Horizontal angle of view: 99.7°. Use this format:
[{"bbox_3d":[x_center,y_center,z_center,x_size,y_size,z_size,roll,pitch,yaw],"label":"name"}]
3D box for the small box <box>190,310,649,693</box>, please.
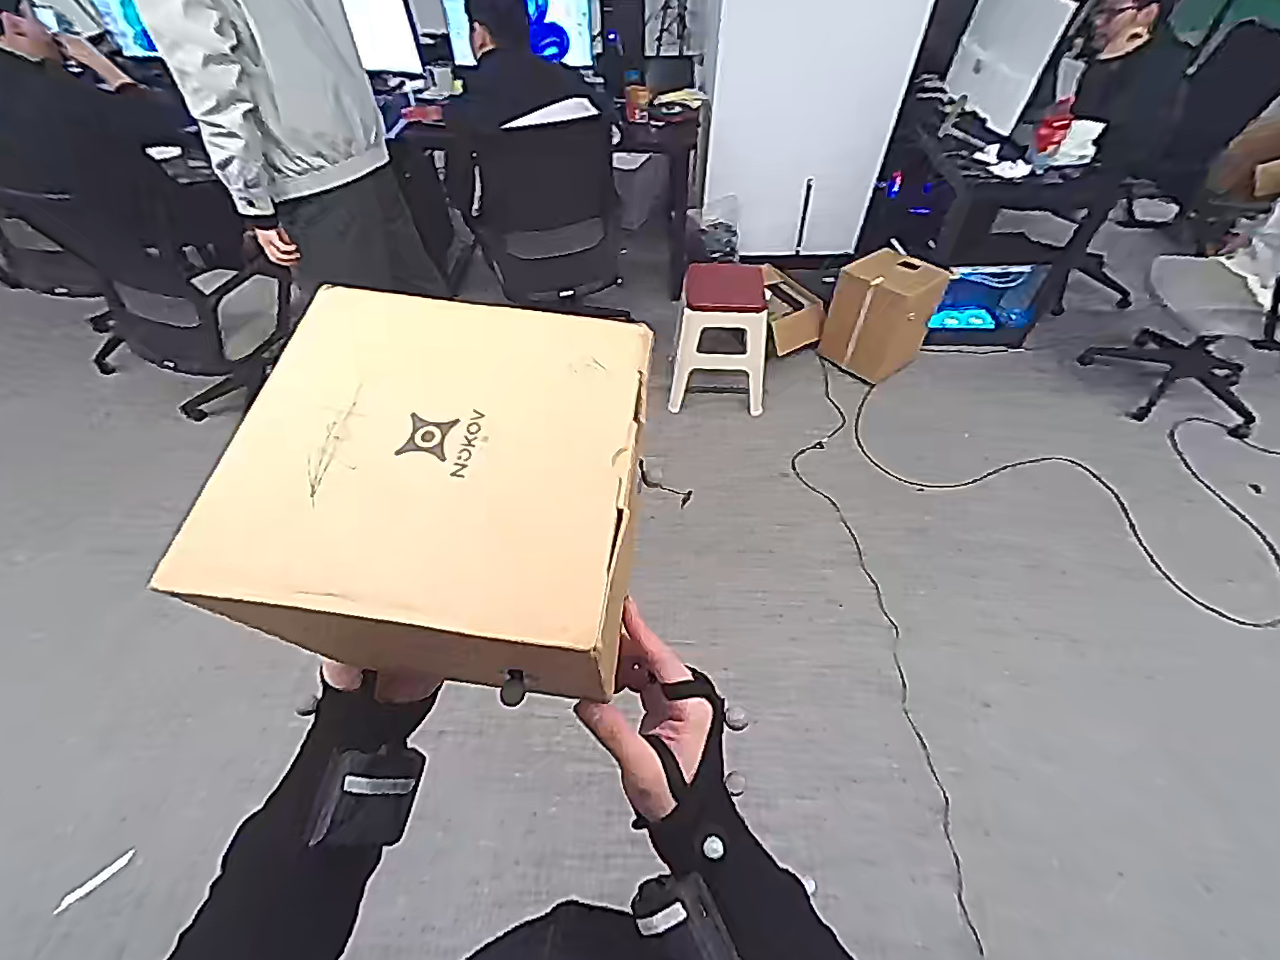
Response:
[{"bbox_3d":[-0.091,0.025,0.324,0.179,0.176,0.168,5,60,2],"label":"small box"}]
